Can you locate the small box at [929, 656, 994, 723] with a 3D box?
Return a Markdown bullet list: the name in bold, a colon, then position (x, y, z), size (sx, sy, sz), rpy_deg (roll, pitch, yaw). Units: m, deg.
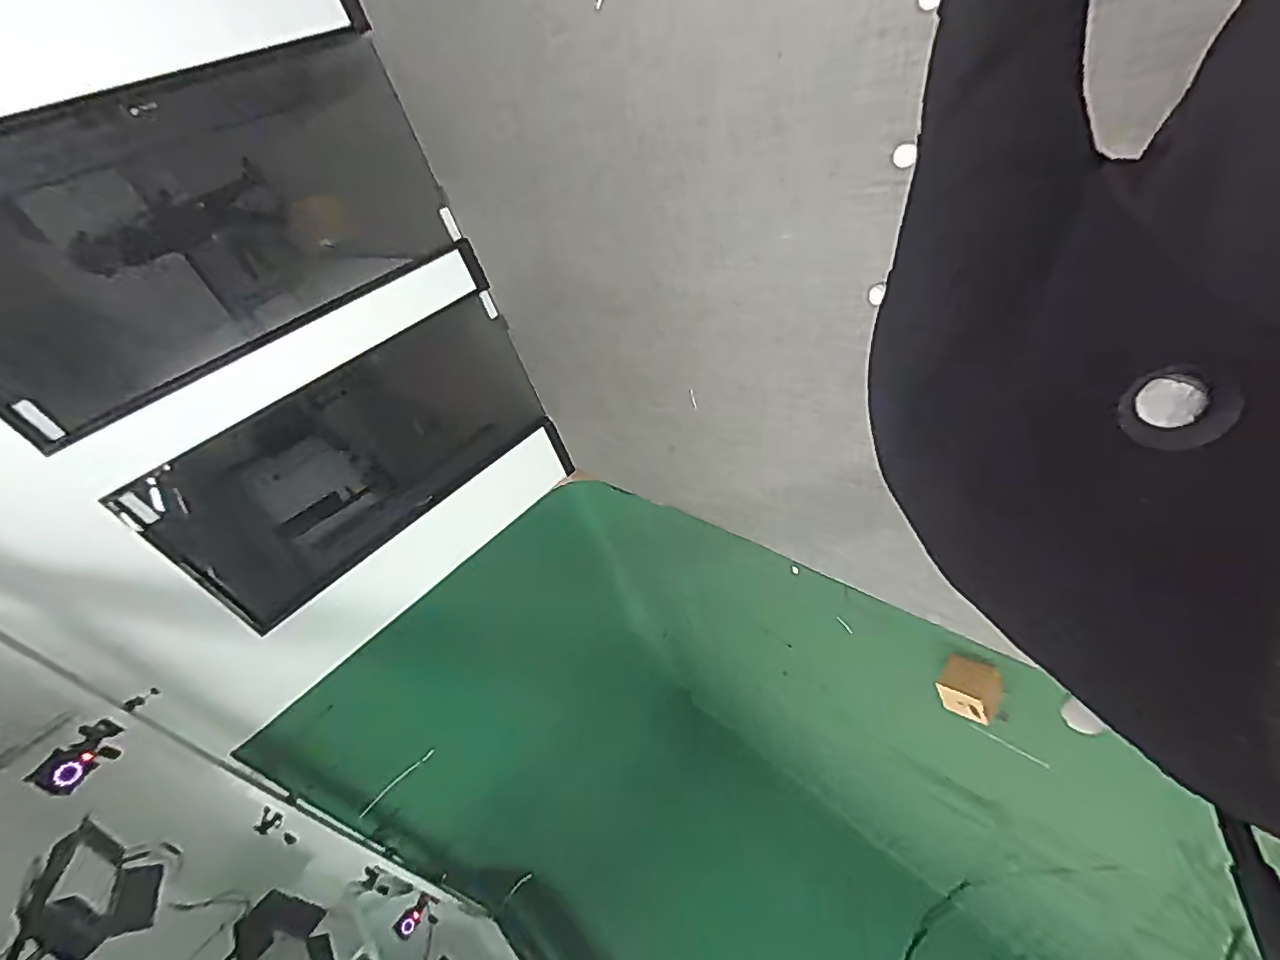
- **small box**: position (1.336, 0.858, 2.235), size (0.179, 0.176, 0.168), rpy_deg (8, 133, 54)
